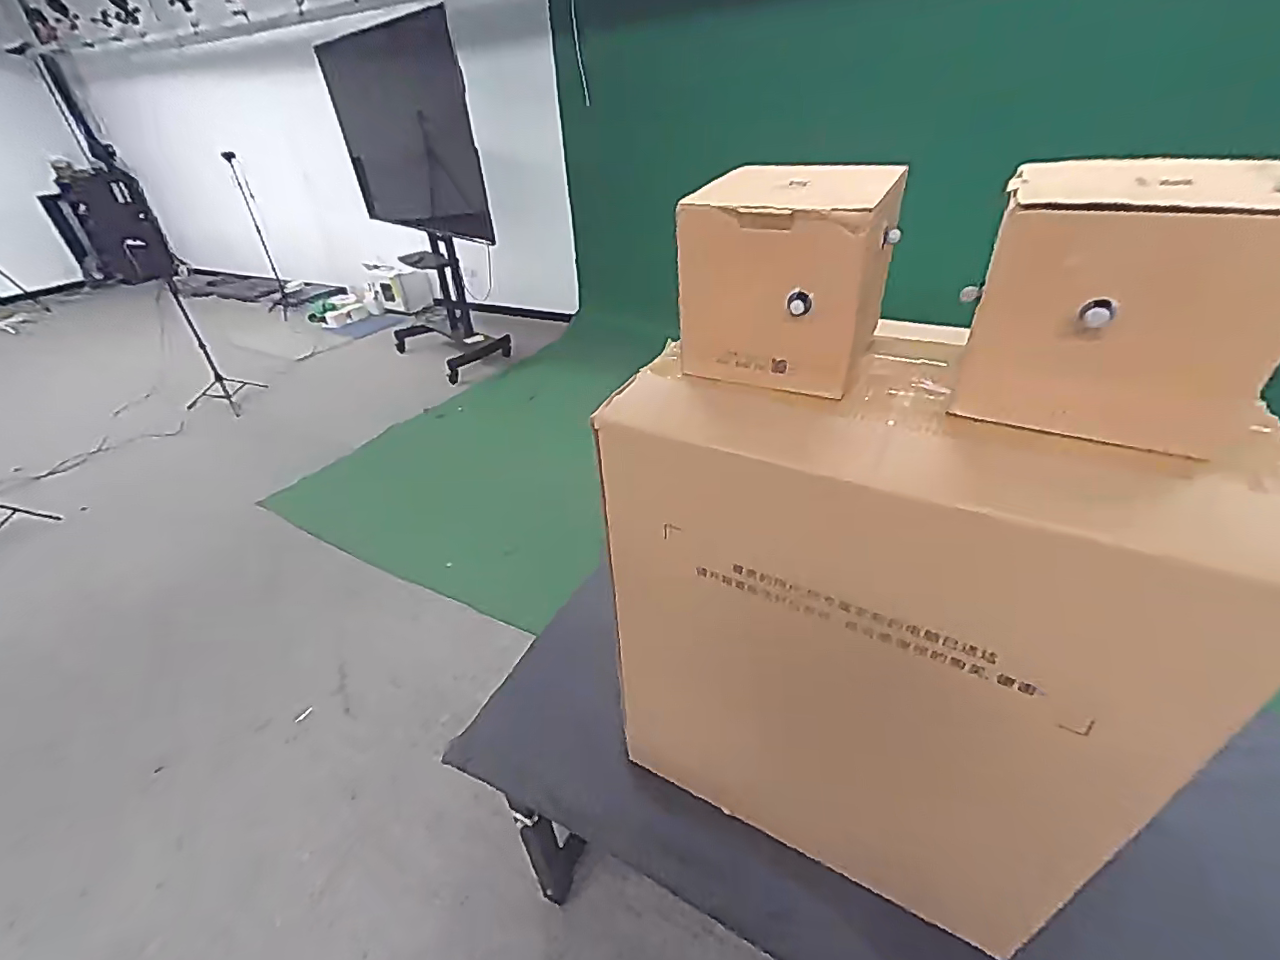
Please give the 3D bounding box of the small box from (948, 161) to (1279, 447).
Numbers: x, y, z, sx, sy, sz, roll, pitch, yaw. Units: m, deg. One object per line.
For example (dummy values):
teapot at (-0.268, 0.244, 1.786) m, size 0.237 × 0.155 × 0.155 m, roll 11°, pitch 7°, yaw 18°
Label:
small box at (0.369, -0.145, 0.436) m, size 0.179 × 0.176 × 0.168 m, roll 16°, pitch 43°, yaw 27°

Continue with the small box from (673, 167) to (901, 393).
small box at (0.146, -0.207, 0.547) m, size 0.168 × 0.176 × 0.179 m, roll 17°, pitch 42°, yaw 24°
